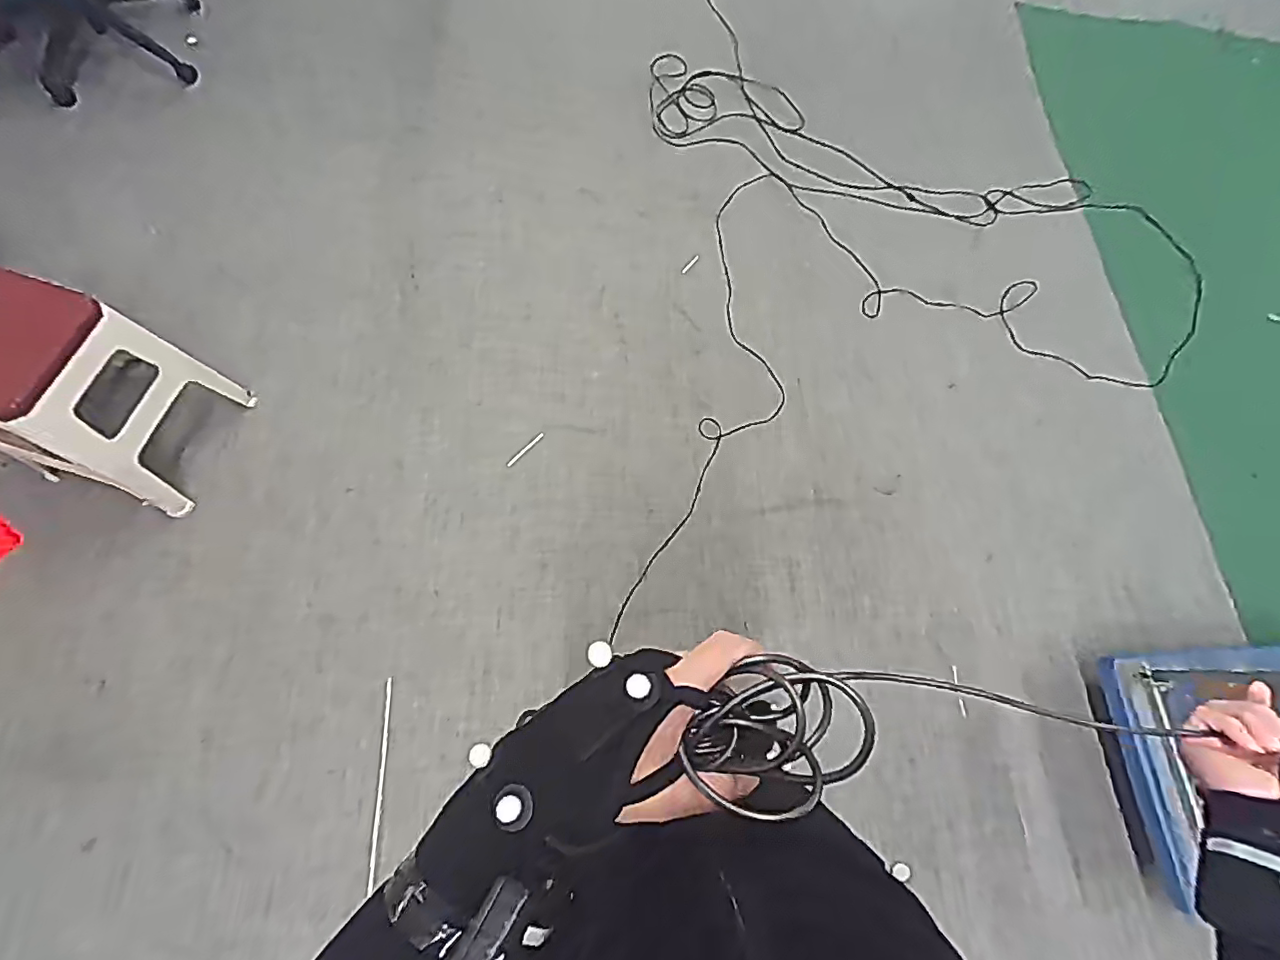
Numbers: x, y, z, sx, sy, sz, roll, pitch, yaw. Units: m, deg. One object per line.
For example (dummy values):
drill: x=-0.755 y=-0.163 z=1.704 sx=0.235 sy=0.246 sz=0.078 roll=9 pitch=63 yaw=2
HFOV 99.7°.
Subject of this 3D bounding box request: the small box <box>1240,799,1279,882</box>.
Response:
small box: x=1.555 y=0.835 z=1.228 sx=0.179 sy=0.176 sz=0.168 roll=0 pitch=71 yaw=-5
